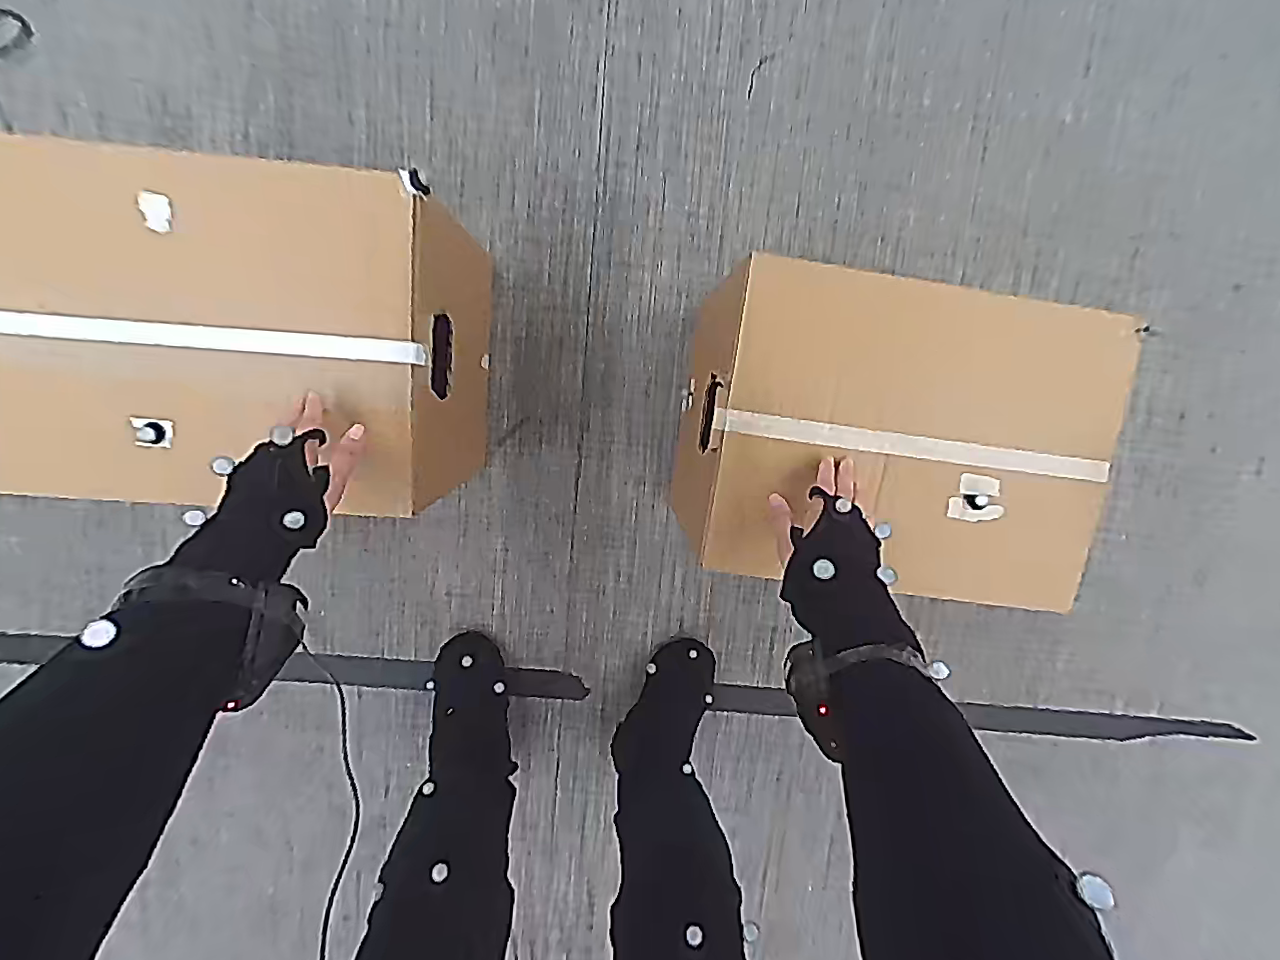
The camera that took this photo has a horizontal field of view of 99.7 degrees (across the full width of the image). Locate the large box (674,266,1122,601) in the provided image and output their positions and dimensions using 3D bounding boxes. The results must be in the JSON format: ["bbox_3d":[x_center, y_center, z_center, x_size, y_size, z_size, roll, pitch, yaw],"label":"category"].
[{"bbox_3d":[0.275,-0.057,0.708,0.408,0.320,0.320,8,98,-5],"label":"large box"}]
